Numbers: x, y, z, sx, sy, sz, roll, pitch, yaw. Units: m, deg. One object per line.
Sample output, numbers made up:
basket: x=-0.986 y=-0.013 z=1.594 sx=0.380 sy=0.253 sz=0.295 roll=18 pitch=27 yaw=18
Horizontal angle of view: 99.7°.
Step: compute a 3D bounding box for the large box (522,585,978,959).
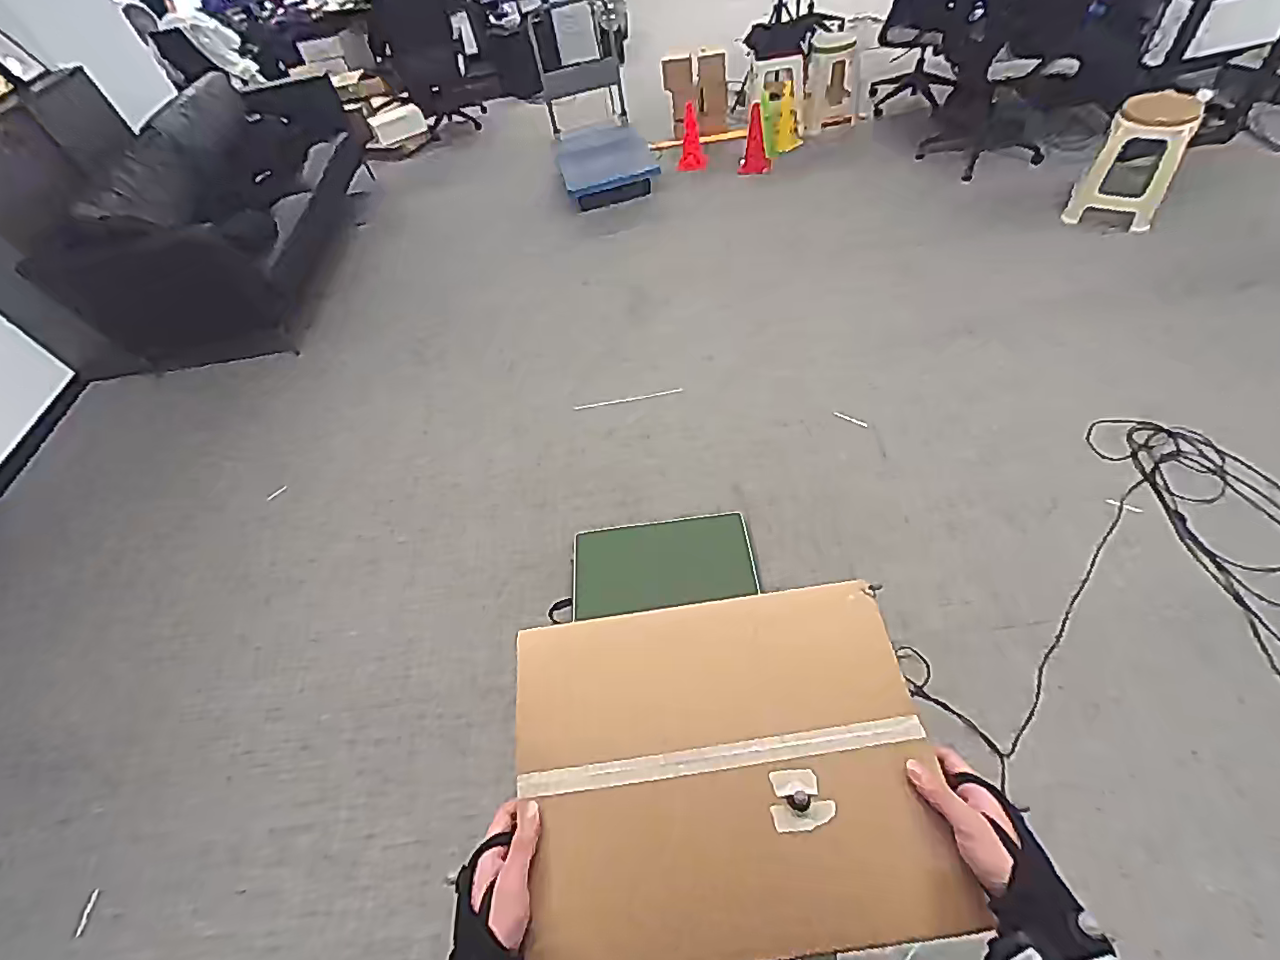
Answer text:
large box: x=0.090 y=0.360 z=0.670 sx=0.408 sy=0.320 sz=0.320 roll=-9 pitch=58 yaw=0
